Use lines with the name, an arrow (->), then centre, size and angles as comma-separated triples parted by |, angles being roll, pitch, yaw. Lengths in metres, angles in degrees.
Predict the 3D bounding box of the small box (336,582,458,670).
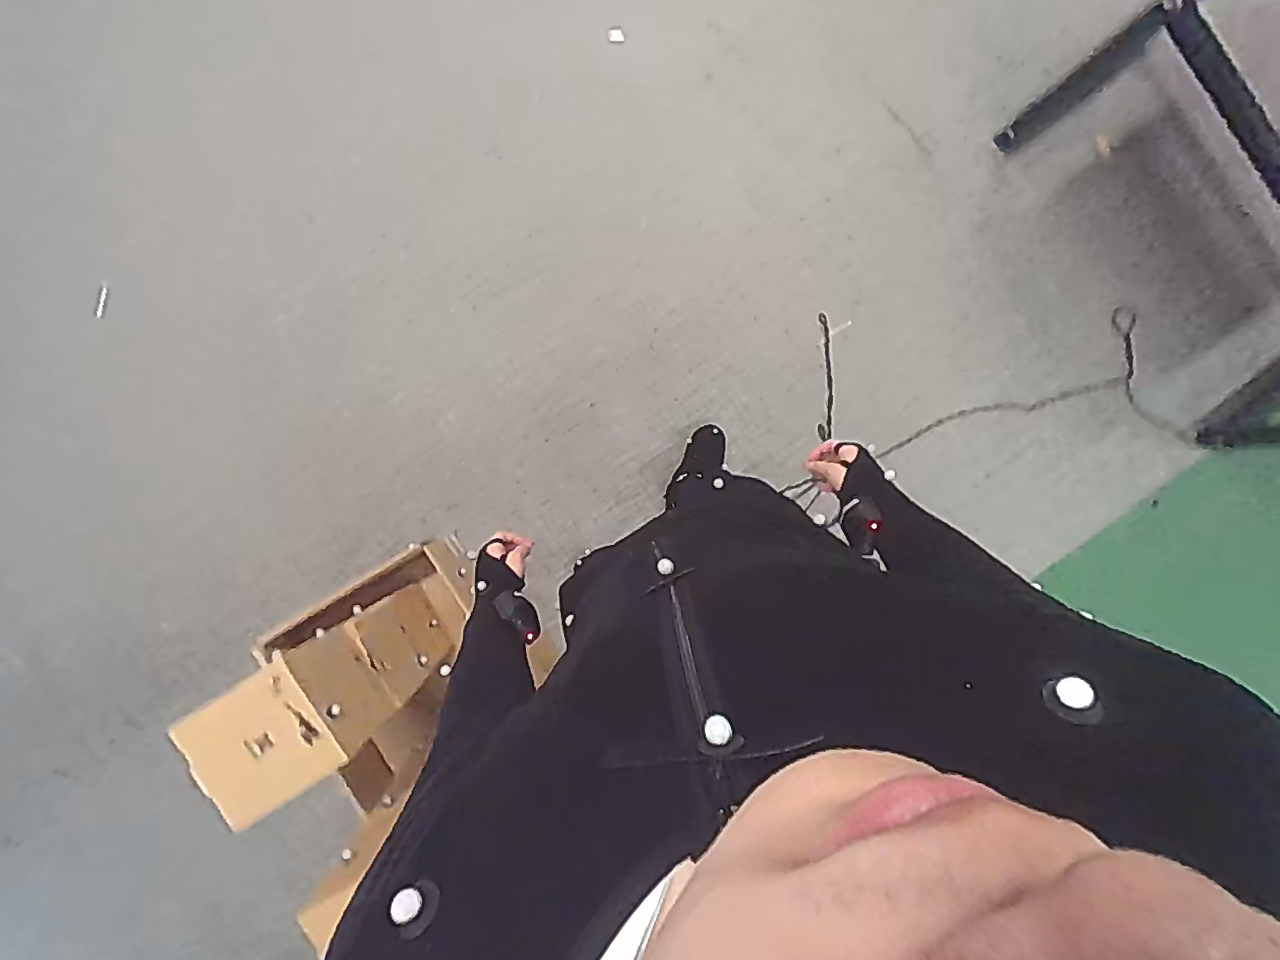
small box -> -0.513, 0.336, 1.128 | 0.179, 0.176, 0.168 | -31, 92, -2

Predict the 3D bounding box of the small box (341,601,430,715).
small box -> -0.501, 0.339, 0.963 | 0.179, 0.176, 0.168 | -30, 92, -1

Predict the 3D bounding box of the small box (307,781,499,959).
small box -> -0.339, 0.603, 0.812 | 0.179, 0.176, 0.168 | -30, 93, -1

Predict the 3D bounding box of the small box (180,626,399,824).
small box -> -0.500, 0.346, 0.800 | 0.179, 0.176, 0.168 | -33, 92, -1
